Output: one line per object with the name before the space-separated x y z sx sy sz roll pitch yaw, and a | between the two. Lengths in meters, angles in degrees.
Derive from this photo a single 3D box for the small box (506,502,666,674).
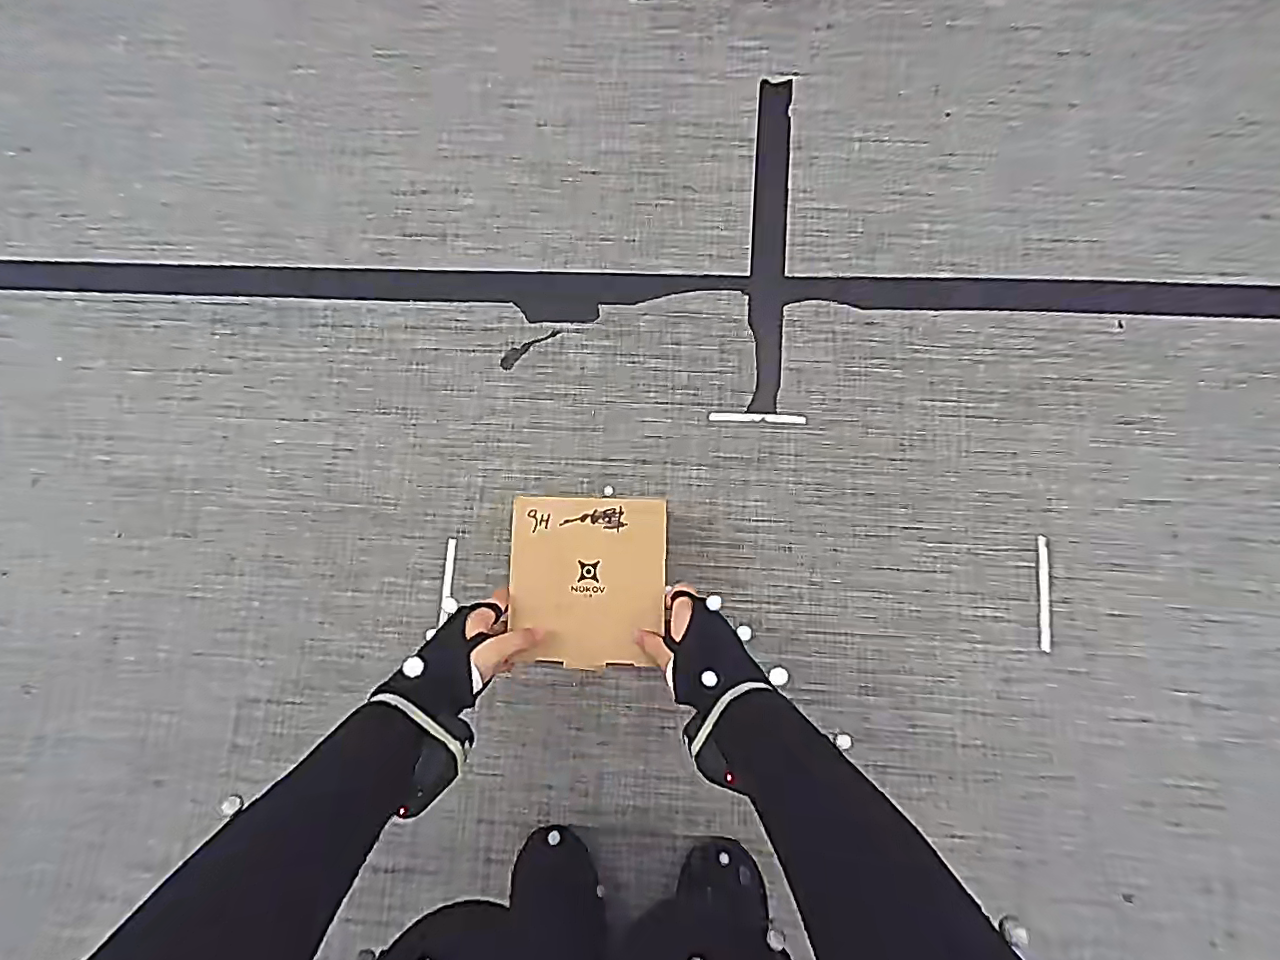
small box | -0.054 0.120 0.650 0.168 0.176 0.179 2 84 2
